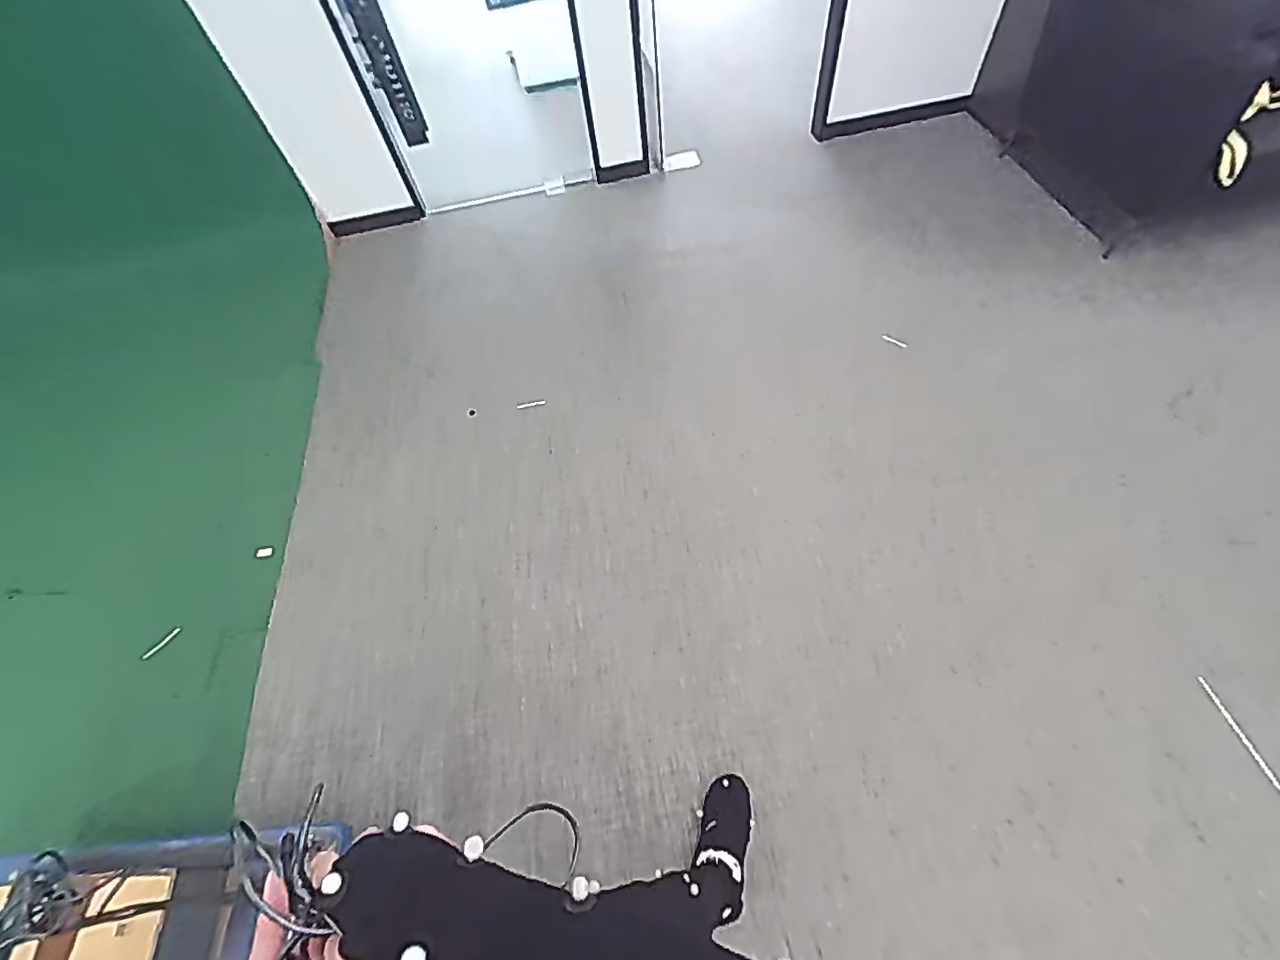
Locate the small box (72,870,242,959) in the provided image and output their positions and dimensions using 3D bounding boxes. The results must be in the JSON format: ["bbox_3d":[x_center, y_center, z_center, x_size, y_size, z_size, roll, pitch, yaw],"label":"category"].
[{"bbox_3d":[-0.963,0.894,1.087,0.179,0.176,0.168,-4,58,3],"label":"small box"}]

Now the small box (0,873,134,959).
[{"bbox_3d":[-1.208,0.915,1.098,0.179,0.176,0.168,-8,58,0],"label":"small box"}]
